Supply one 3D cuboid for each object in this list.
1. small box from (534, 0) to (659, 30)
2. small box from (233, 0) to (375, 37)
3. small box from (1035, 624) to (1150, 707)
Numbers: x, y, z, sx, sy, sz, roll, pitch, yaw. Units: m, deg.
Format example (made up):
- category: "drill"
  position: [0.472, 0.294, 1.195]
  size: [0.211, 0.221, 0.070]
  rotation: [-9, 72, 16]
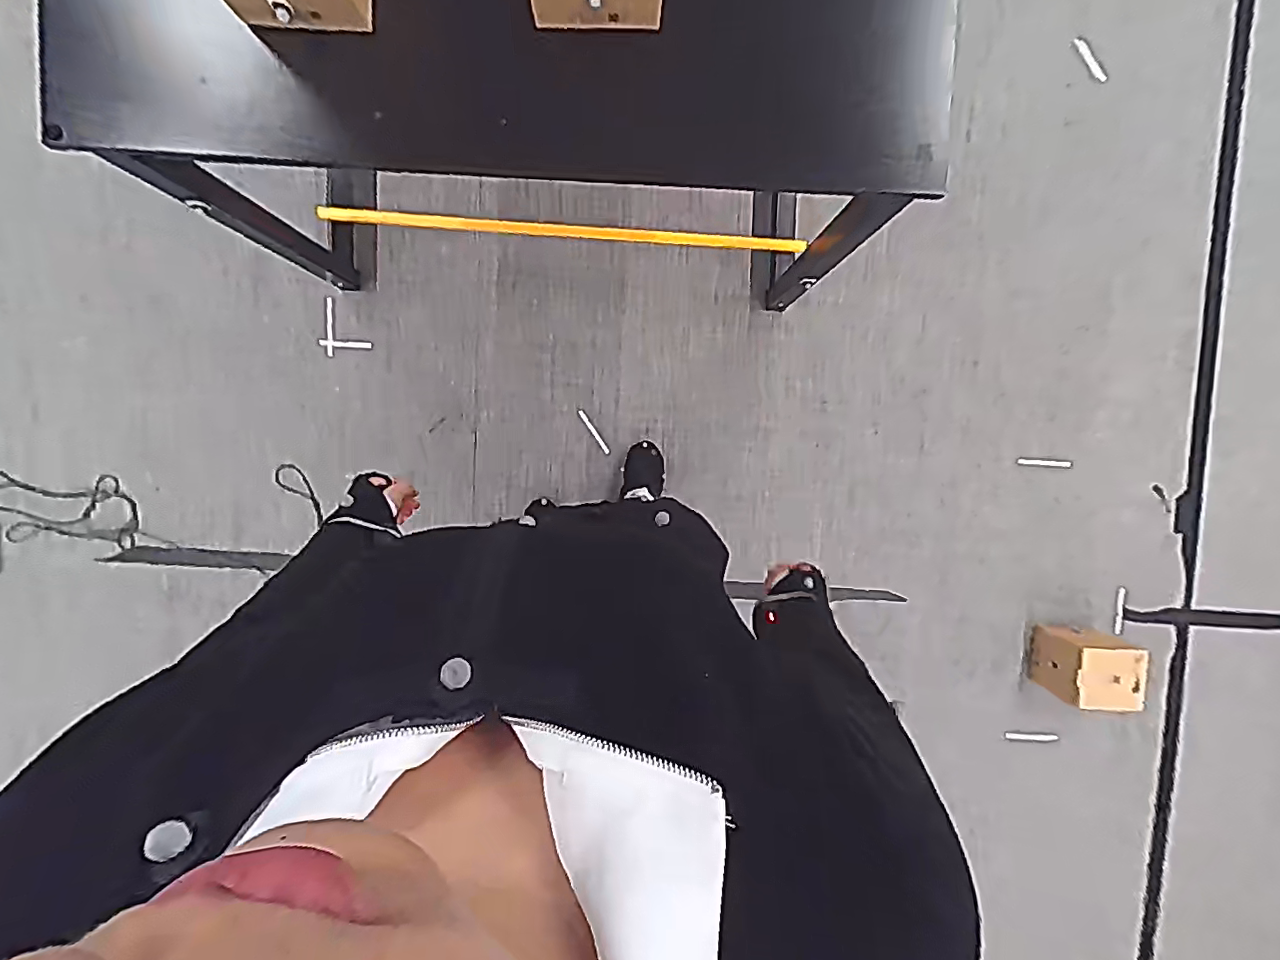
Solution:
- category: "small box"
  position: [-0.056, -0.686, 0.637]
  size: [0.168, 0.176, 0.179]
  rotation: [-1, 93, -1]
- category: "small box"
  position: [-0.429, -0.672, 0.630]
  size: [0.168, 0.176, 0.179]
  rotation: [0, 94, -1]
- category: "small box"
  position: [1.226, 0.500, 1.478]
  size: [0.179, 0.176, 0.168]
  rotation: [3, 94, -1]
